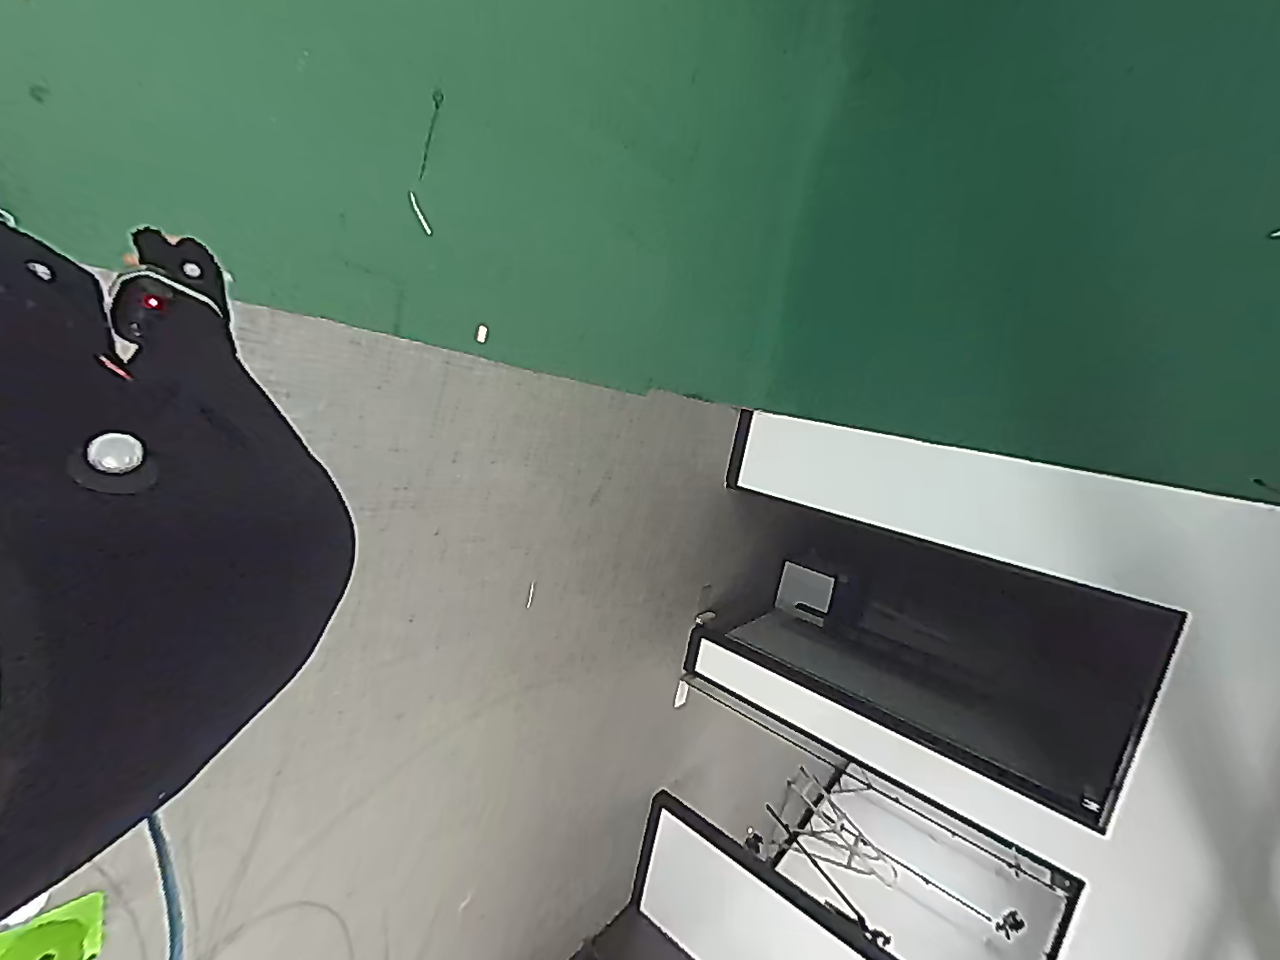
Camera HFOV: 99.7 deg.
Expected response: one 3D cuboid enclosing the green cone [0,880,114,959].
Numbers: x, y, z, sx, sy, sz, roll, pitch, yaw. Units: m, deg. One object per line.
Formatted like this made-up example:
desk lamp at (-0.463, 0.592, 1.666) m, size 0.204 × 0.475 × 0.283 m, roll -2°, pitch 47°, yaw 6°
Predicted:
green cone at (-1.227, 1.094, 1.143) m, size 0.202 × 0.368 × 0.200 m, roll -2°, pitch 105°, yaw -51°
